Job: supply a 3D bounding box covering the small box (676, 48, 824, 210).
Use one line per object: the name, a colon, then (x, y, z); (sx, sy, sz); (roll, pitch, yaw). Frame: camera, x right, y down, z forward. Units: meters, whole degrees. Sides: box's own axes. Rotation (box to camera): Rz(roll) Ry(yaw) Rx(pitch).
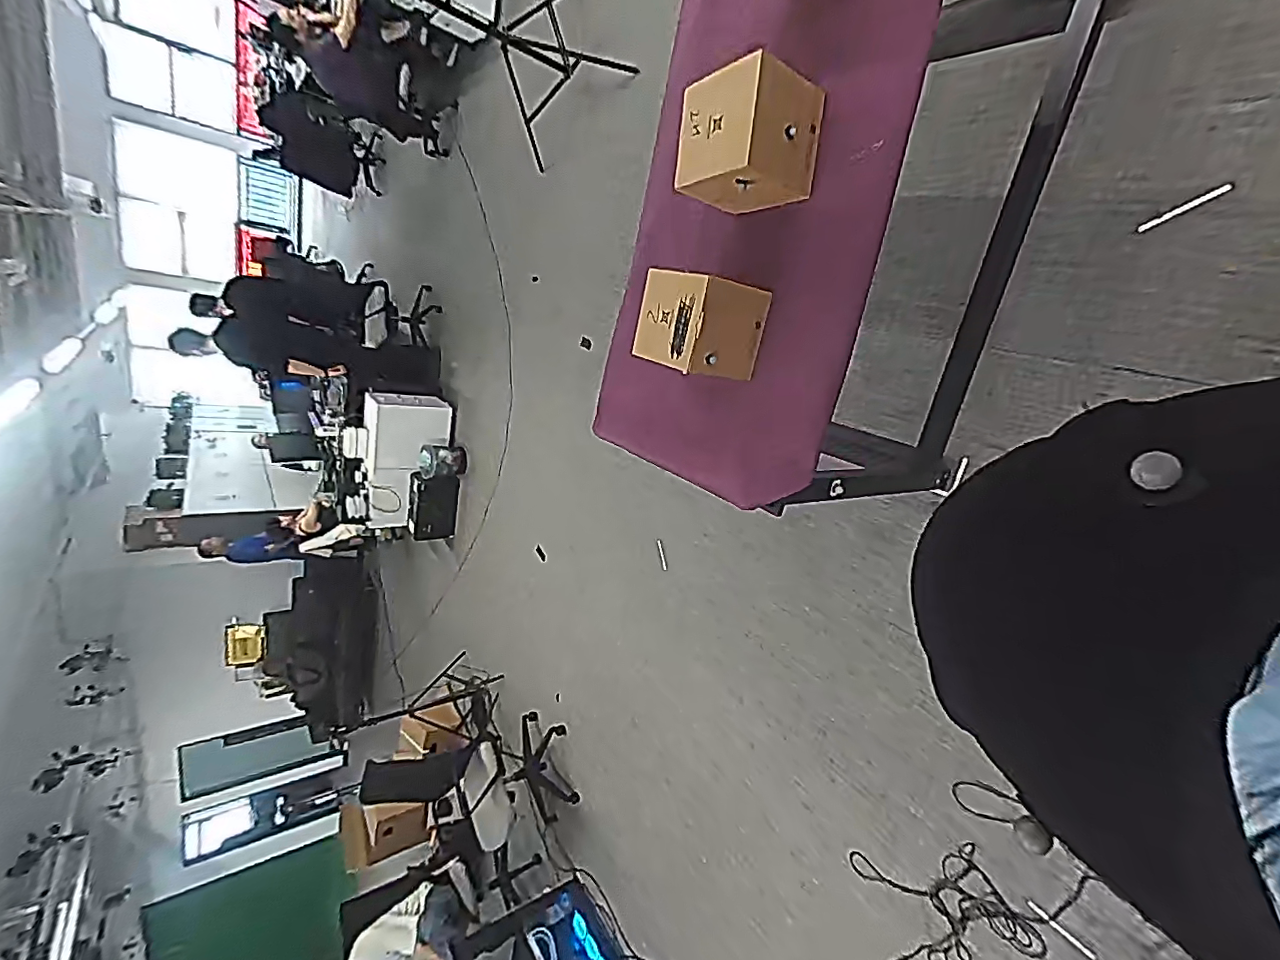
small box: (0.188, -0.584, 0.928); (0.179, 0.176, 0.168); (19, 106, 51)
